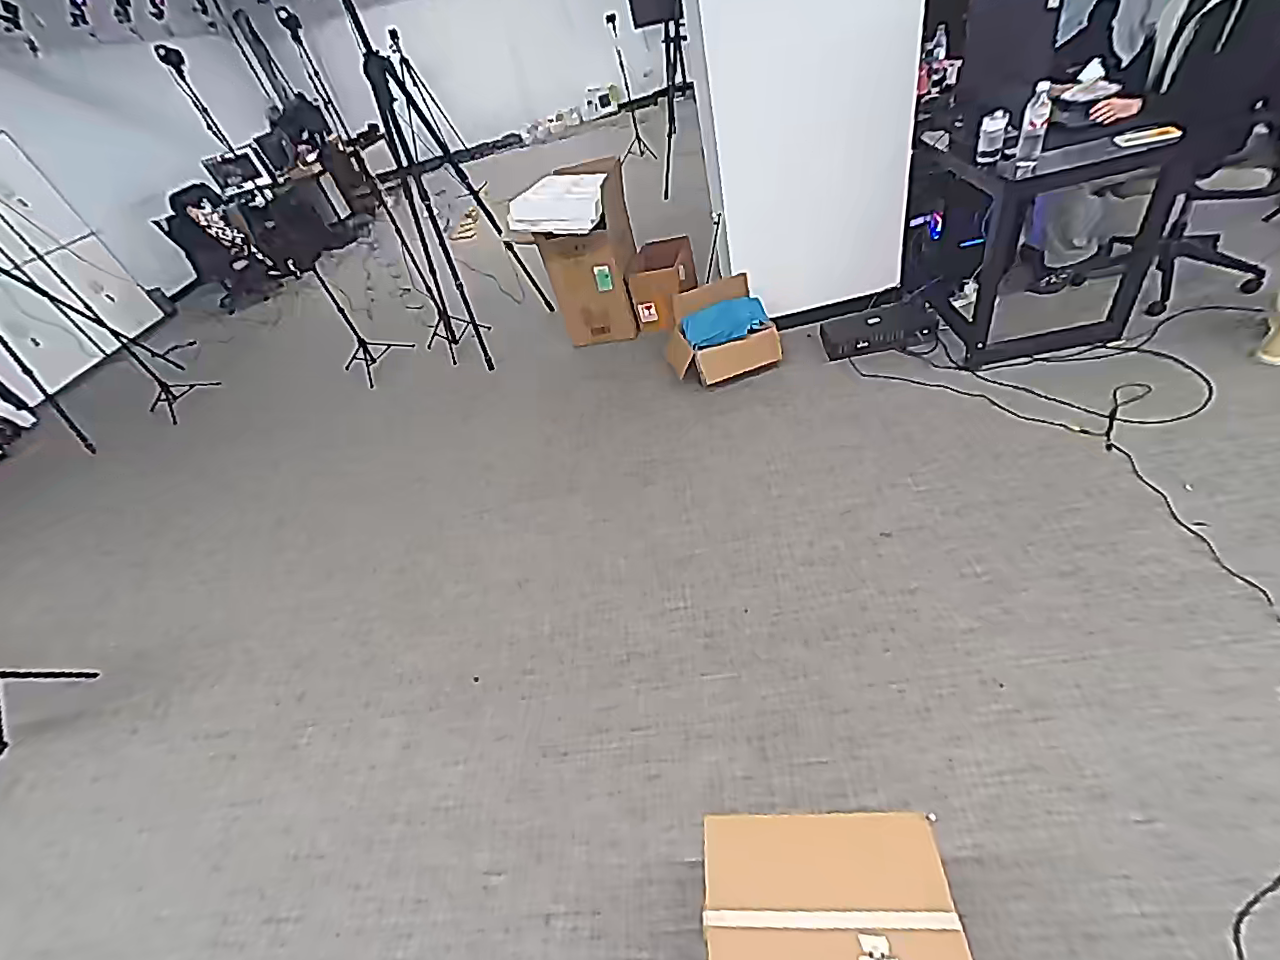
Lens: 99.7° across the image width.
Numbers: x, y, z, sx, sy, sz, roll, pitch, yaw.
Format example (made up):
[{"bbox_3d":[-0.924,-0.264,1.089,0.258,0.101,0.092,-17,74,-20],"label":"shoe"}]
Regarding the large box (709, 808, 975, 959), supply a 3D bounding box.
[{"bbox_3d":[0.354,0.831,0.996,0.408,0.320,0.320,-8,42,11],"label":"large box"}]
